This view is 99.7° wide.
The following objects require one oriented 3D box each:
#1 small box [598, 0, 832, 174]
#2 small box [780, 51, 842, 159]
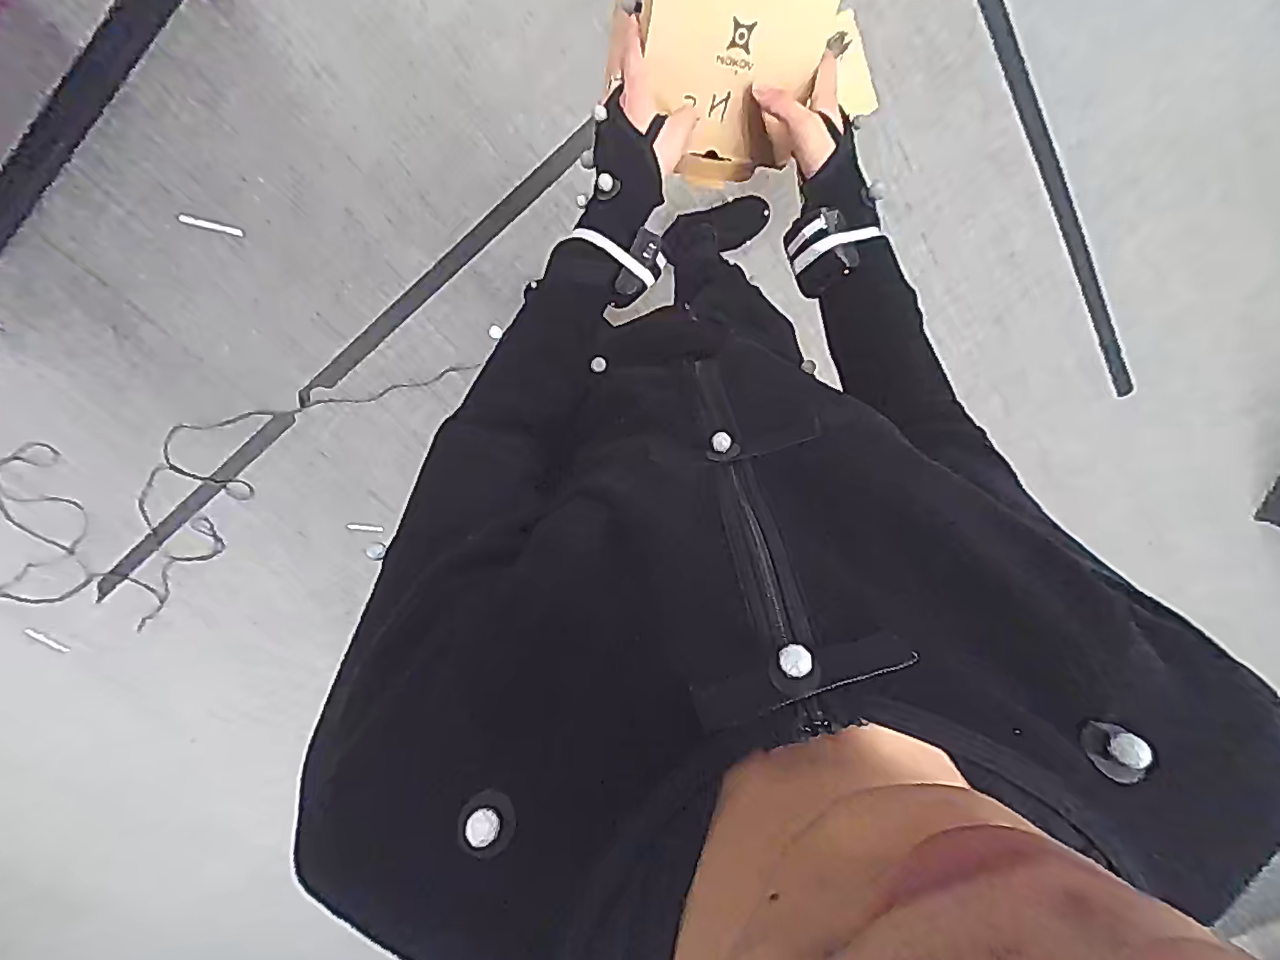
[{"bbox_3d":[0.059,-0.429,0.528,0.168,0.176,0.179,0,134,-16],"label":"small box"},{"bbox_3d":[0.320,-0.849,1.233,0.179,0.176,0.168,-33,116,12],"label":"small box"}]
